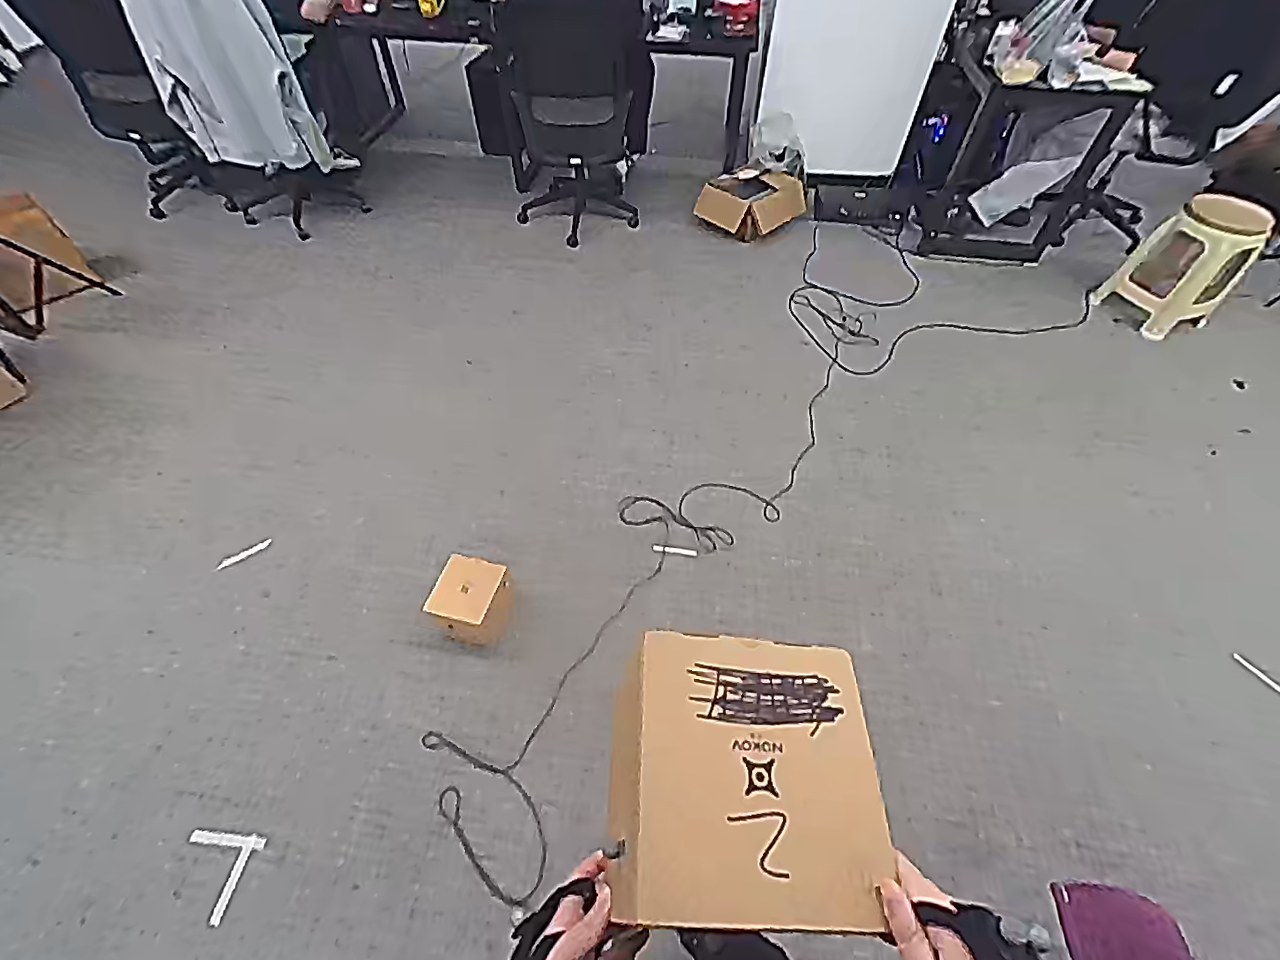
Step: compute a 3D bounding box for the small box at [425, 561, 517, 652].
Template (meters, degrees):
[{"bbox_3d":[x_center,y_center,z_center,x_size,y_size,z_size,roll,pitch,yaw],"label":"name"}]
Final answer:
[{"bbox_3d":[-0.453,0.352,1.485,0.168,0.176,0.179,11,53,9],"label":"small box"}]
